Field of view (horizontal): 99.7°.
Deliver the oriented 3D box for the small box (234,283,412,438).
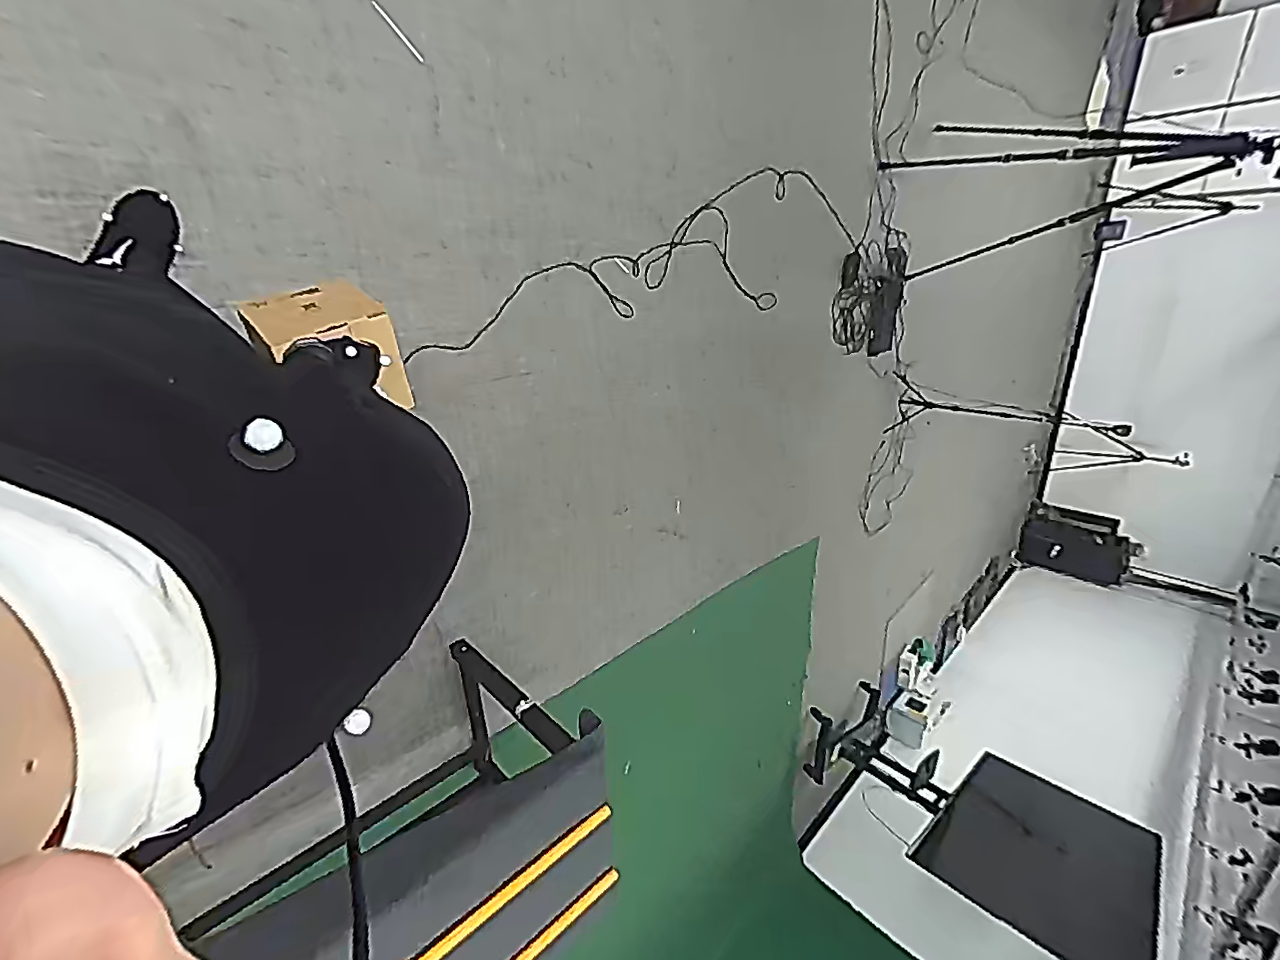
[{"bbox_3d":[-0.496,-0.189,0.865,0.168,0.179,0.176,-34,140,-32],"label":"small box"}]
